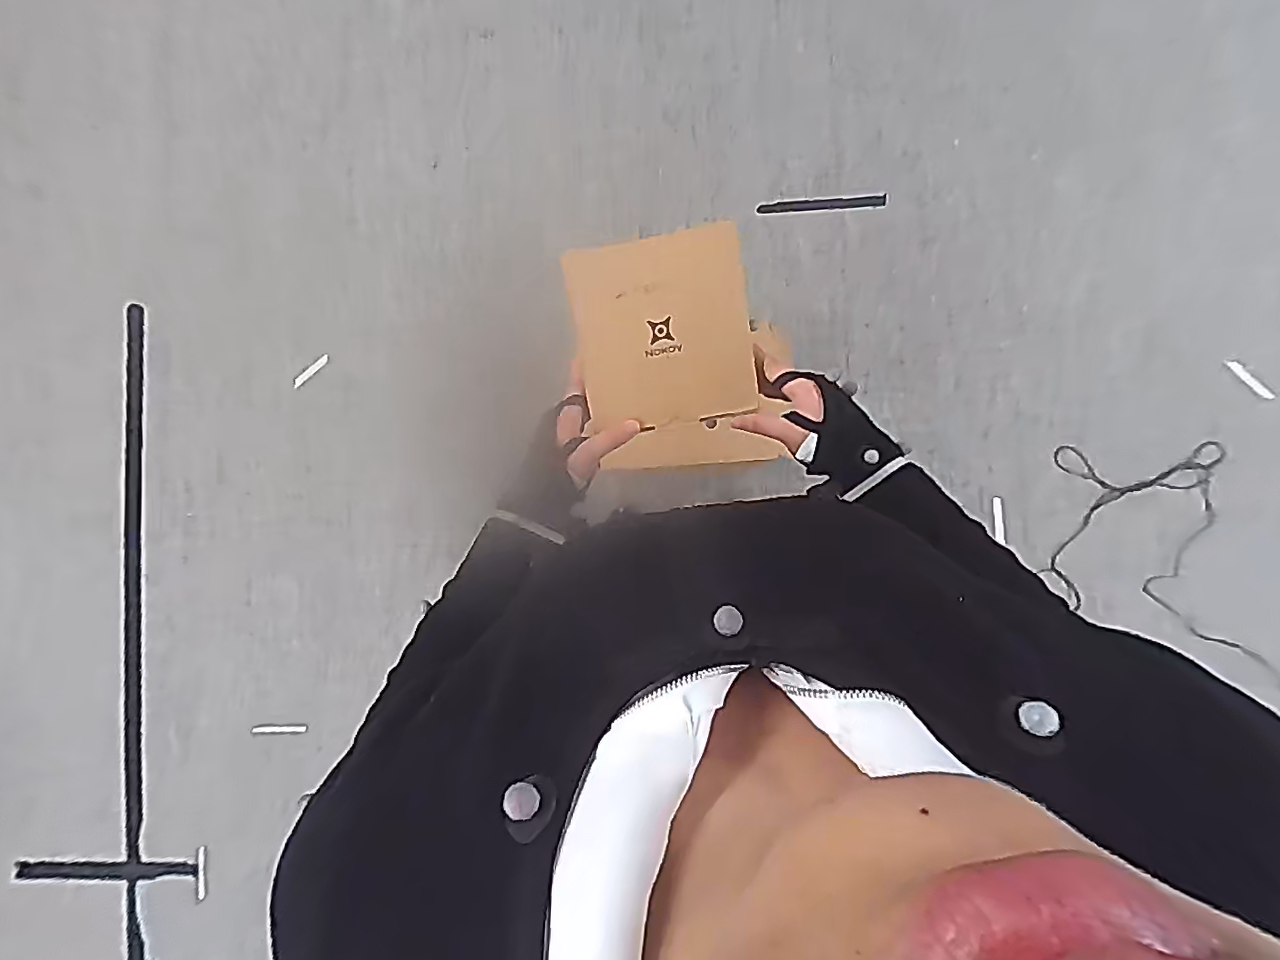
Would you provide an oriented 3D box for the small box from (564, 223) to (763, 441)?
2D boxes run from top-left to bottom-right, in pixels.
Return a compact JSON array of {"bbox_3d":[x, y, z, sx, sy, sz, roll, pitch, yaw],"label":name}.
[{"bbox_3d":[0.030,-0.149,0.582,0.168,0.176,0.179,-10,100,5],"label":"small box"}]
